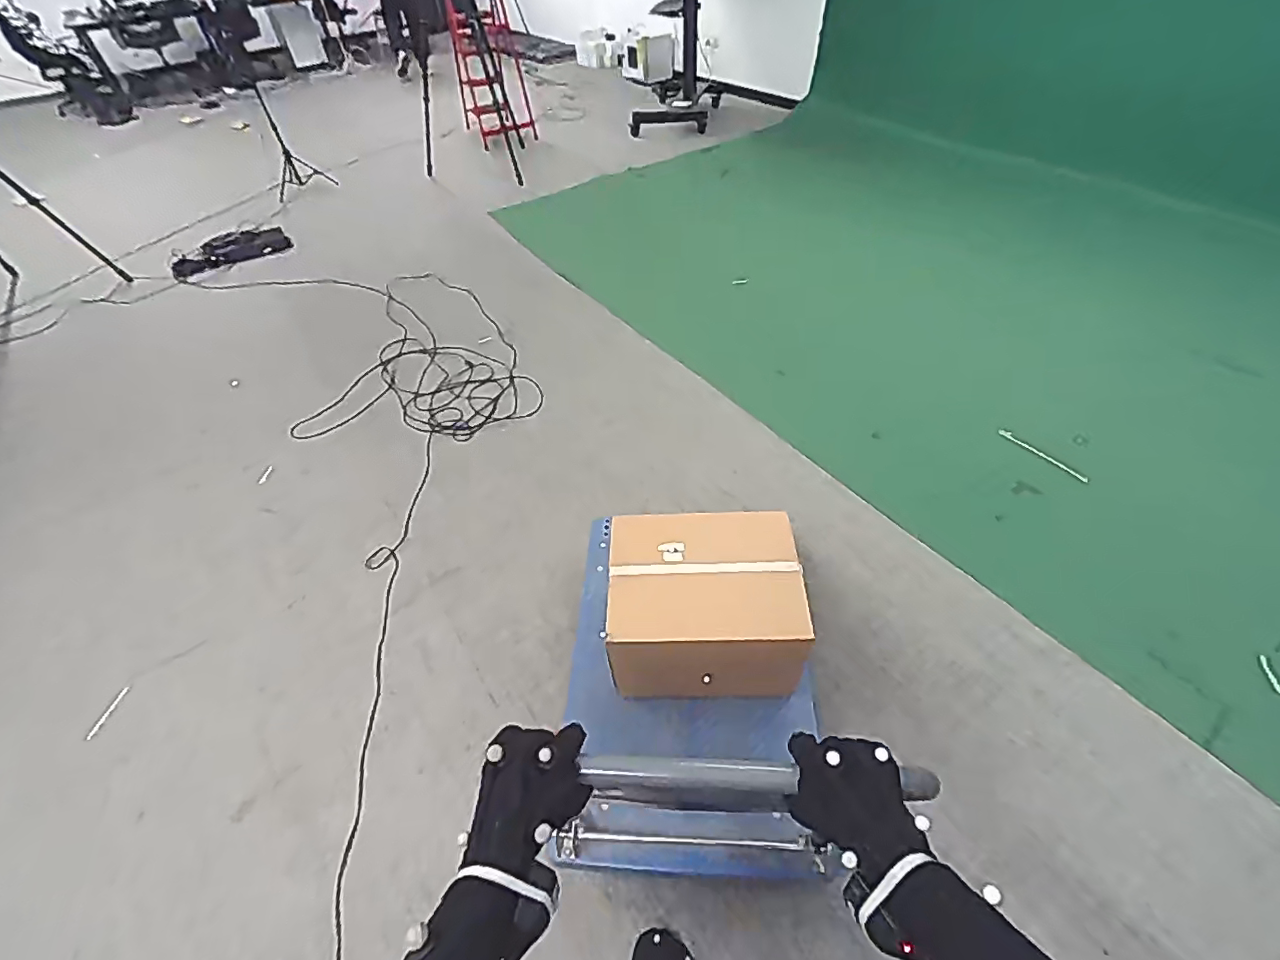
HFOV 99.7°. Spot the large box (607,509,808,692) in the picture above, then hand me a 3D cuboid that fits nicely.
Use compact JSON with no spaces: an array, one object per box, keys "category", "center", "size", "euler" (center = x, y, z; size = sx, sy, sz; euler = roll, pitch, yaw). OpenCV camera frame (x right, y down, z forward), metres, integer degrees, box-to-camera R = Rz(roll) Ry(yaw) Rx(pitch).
[{"category":"large box","center":[0.142,0.289,1.269],"size":[0.408,0.320,0.320],"euler":[-3,48,3]}]
